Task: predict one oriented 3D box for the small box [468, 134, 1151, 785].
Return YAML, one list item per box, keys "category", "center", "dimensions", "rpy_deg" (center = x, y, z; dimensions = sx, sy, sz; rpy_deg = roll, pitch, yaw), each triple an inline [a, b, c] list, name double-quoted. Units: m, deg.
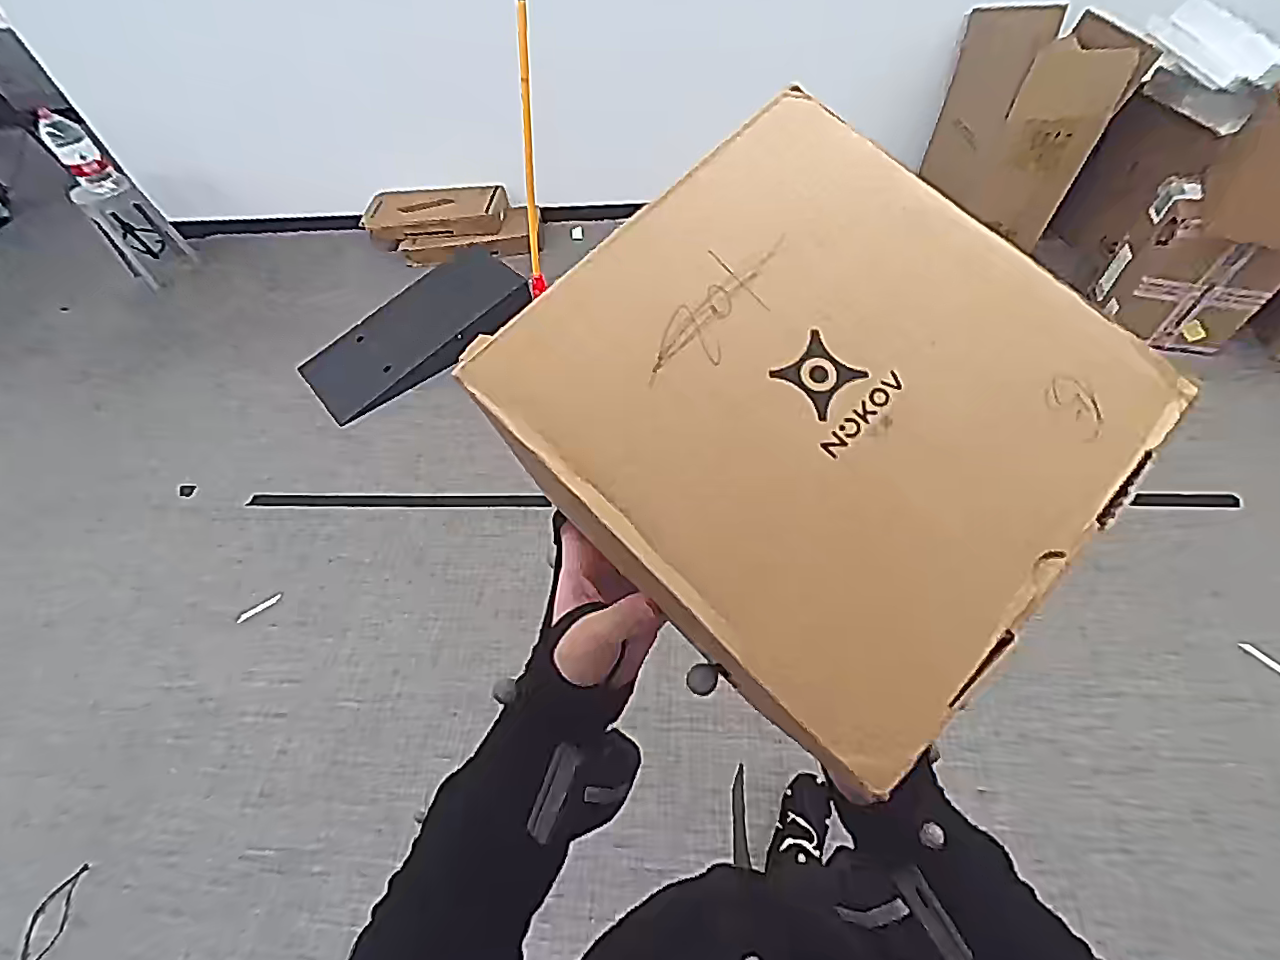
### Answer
- category: "small box"
  center: [0.057, -0.004, 0.261]
  dimensions: [0.179, 0.176, 0.168]
  rpy_deg: [43, 79, 11]
